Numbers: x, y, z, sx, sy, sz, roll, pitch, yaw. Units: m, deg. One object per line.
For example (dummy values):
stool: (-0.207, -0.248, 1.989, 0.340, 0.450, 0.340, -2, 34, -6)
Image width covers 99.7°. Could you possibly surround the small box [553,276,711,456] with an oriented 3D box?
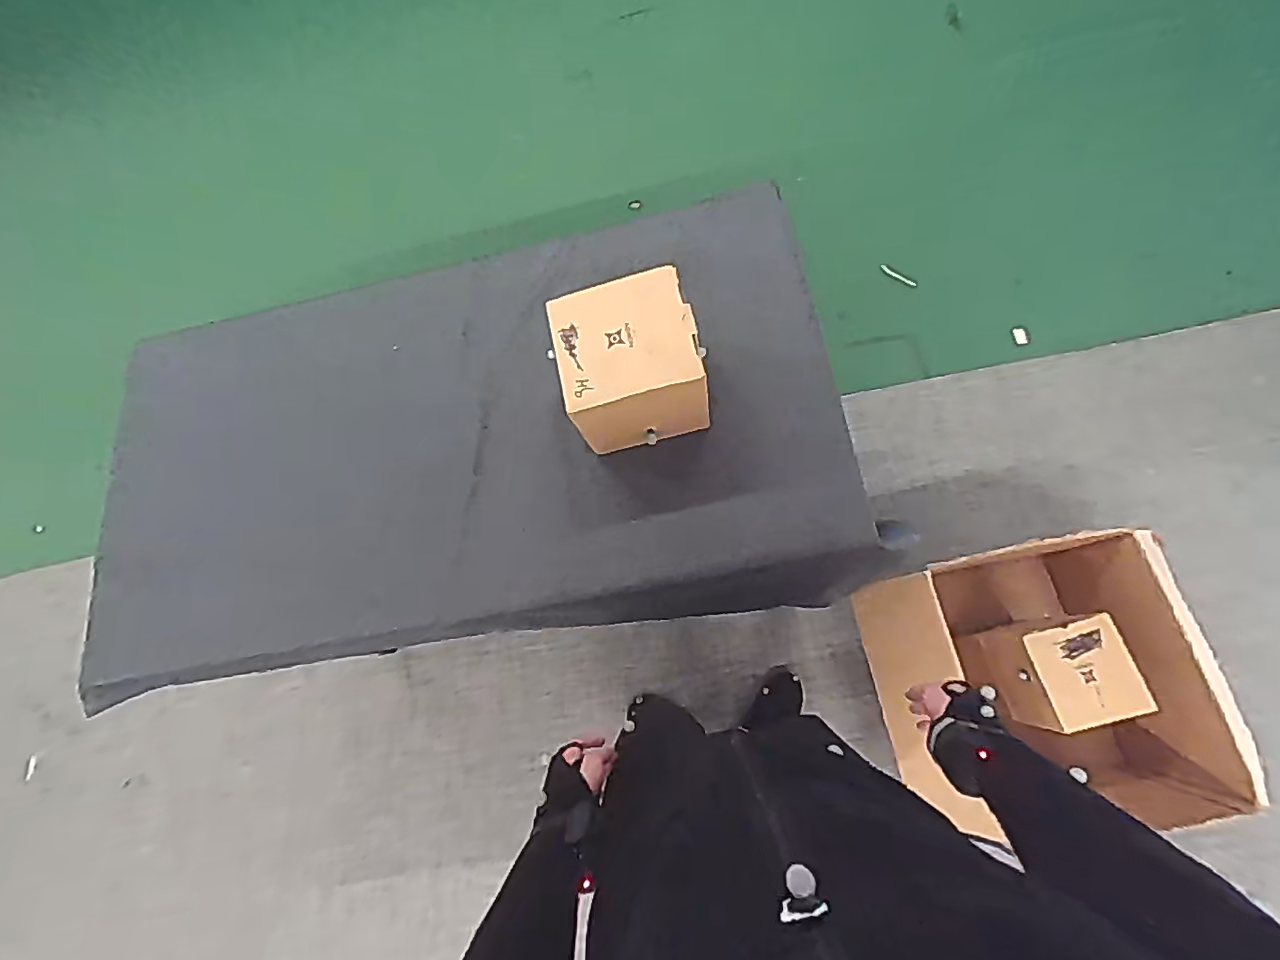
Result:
small box: (-0.004, -0.150, 0.769, 0.179, 0.176, 0.168, -17, 74, 5)
